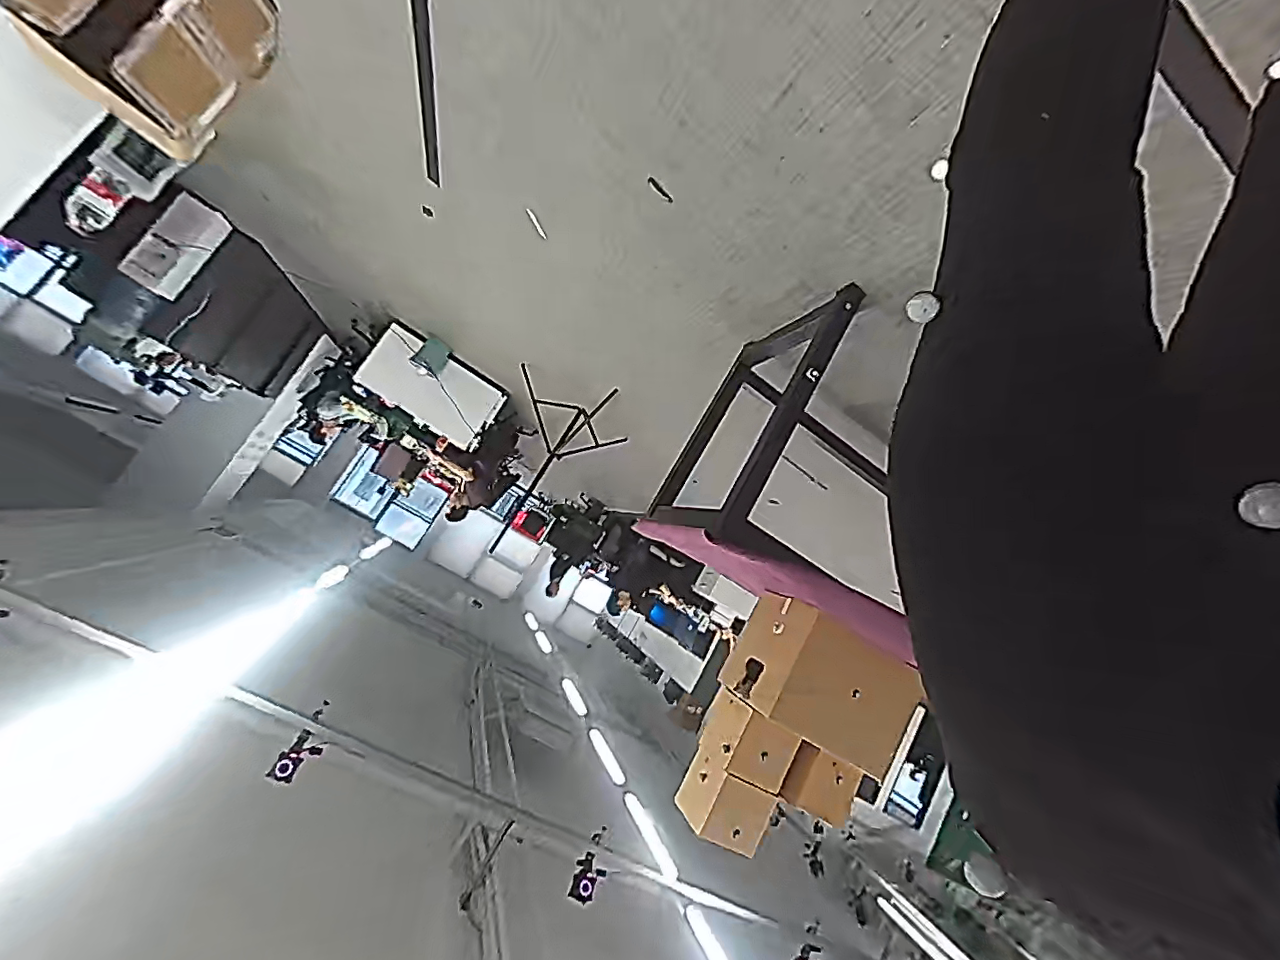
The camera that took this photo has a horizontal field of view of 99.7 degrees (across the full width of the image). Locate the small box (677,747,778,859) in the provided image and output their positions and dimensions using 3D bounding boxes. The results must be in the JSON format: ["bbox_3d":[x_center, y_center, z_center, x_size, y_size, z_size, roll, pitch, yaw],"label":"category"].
[{"bbox_3d":[0.233,0.850,1.438,0.179,0.176,0.168,32,170,-15],"label":"small box"}]
